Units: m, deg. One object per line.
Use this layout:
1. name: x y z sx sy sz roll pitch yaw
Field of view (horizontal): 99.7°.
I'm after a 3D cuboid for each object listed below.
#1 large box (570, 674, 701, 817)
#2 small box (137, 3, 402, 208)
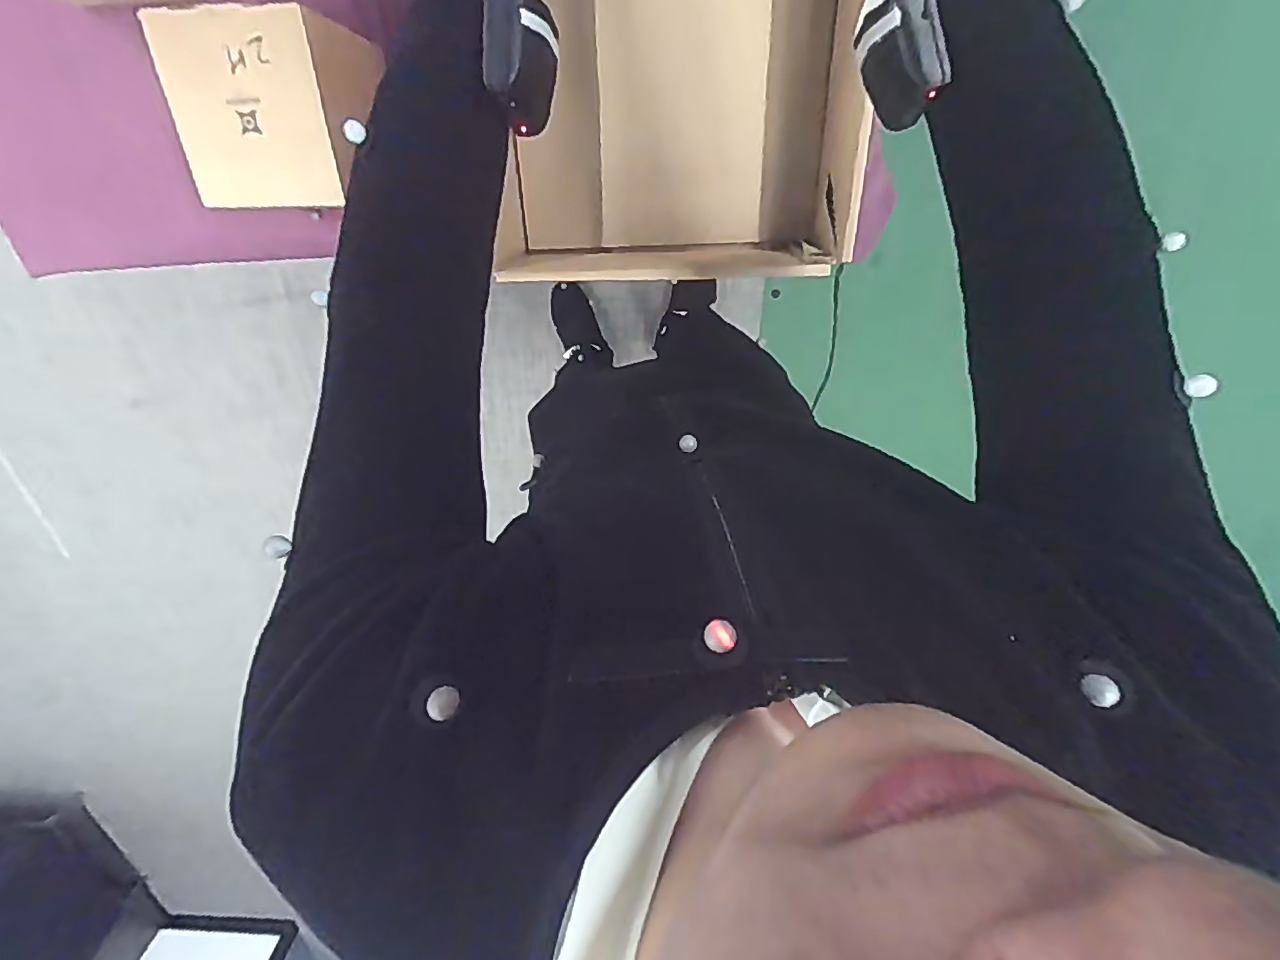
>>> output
1. large box: -0.012 1.049 2.145 0.408 0.320 0.320 -30 113 17
2. small box: -0.400 -0.417 0.627 0.168 0.176 0.179 1 118 2
